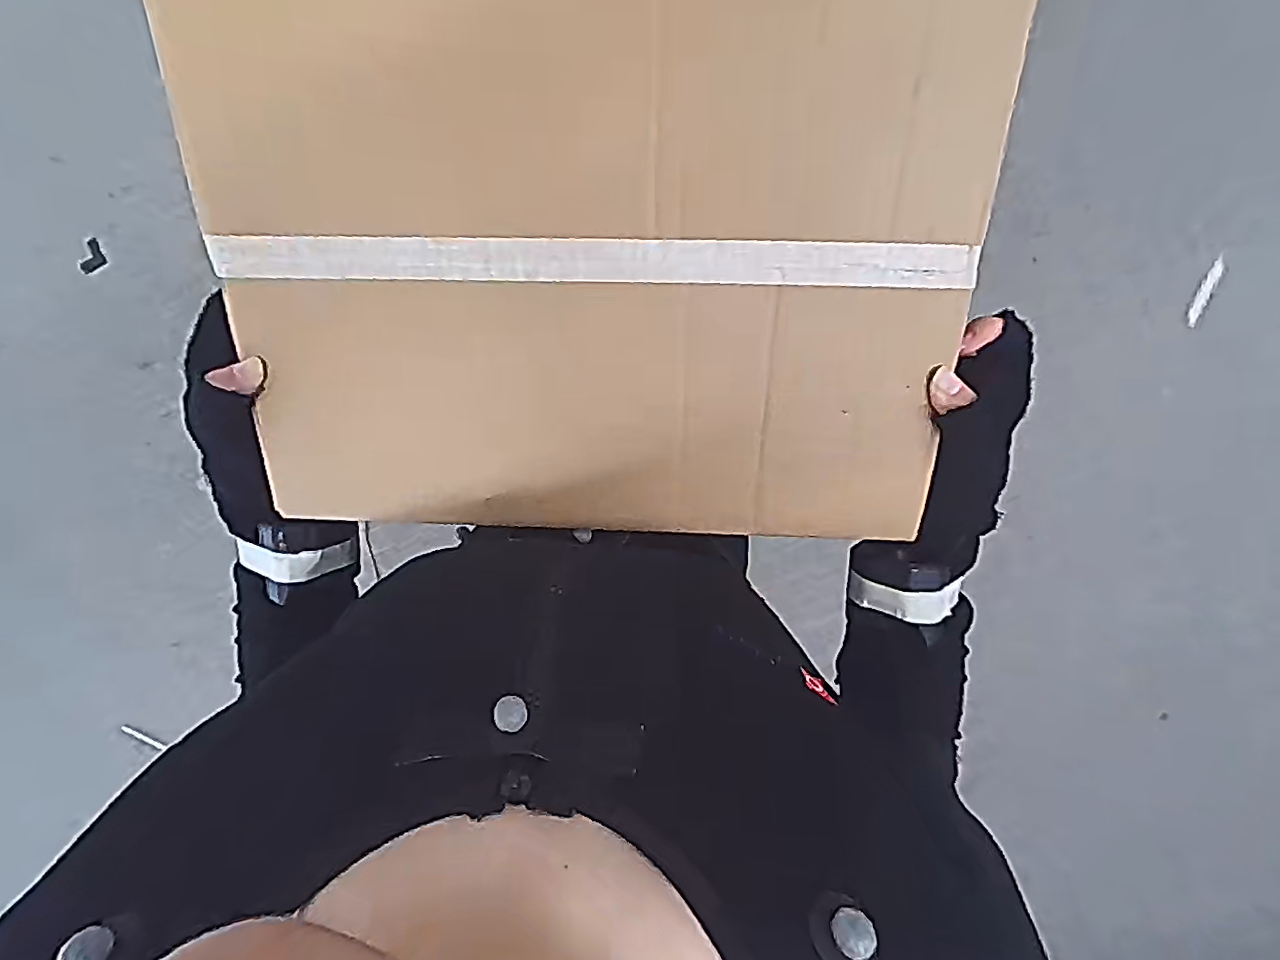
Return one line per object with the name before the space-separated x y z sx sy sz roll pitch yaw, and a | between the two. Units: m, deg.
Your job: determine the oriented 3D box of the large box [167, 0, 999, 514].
large box | -0.027 -0.175 0.434 0.408 0.320 0.320 1 112 2
